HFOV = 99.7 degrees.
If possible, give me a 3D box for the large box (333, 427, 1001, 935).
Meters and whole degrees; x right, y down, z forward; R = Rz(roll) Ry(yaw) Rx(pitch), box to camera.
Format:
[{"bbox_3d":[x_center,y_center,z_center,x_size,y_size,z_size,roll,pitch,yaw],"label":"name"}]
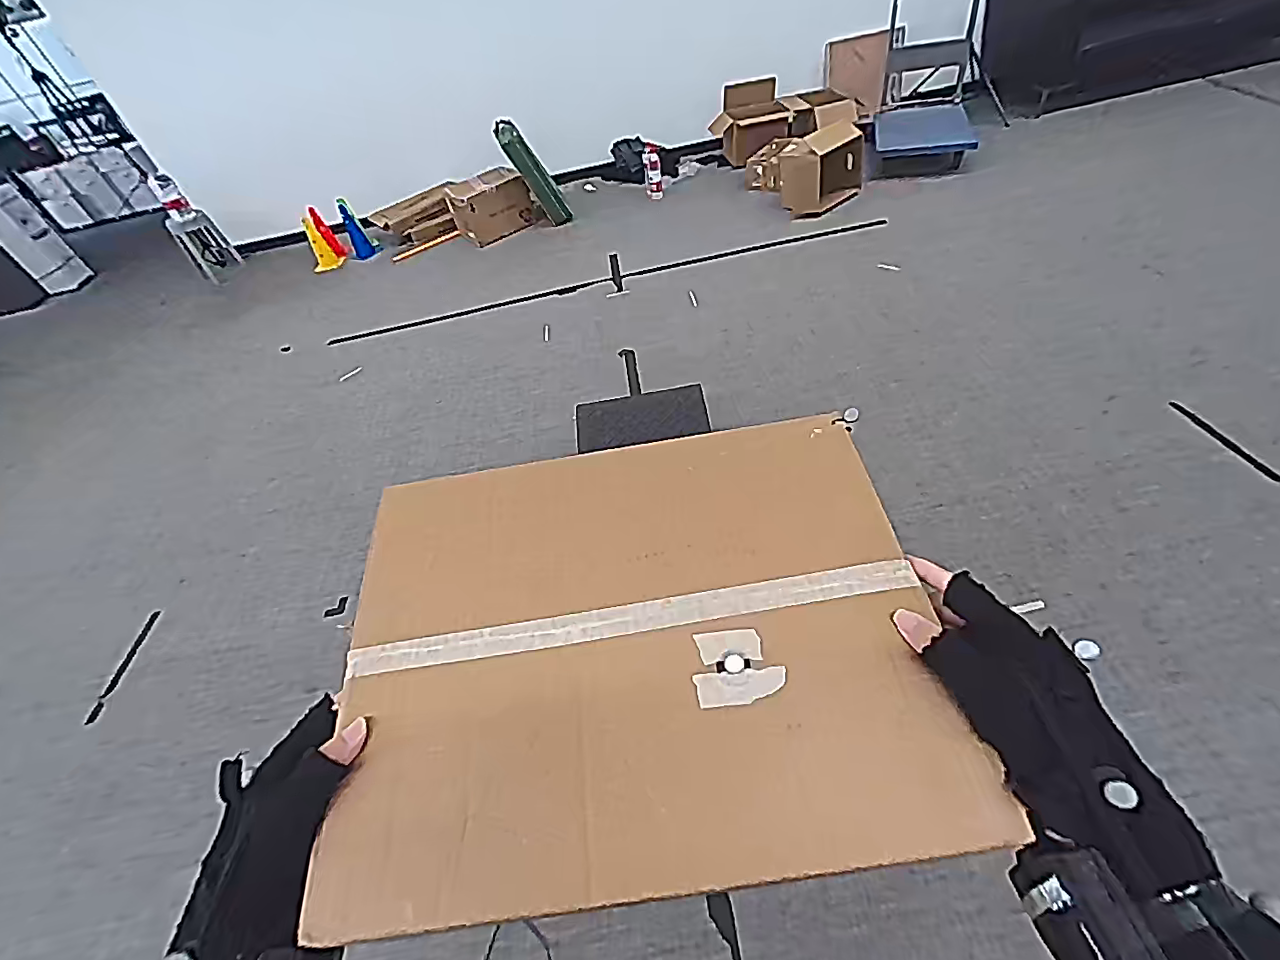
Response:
[{"bbox_3d":[0.011,0.193,0.518,0.408,0.320,0.320,-9,55,1],"label":"large box"}]
